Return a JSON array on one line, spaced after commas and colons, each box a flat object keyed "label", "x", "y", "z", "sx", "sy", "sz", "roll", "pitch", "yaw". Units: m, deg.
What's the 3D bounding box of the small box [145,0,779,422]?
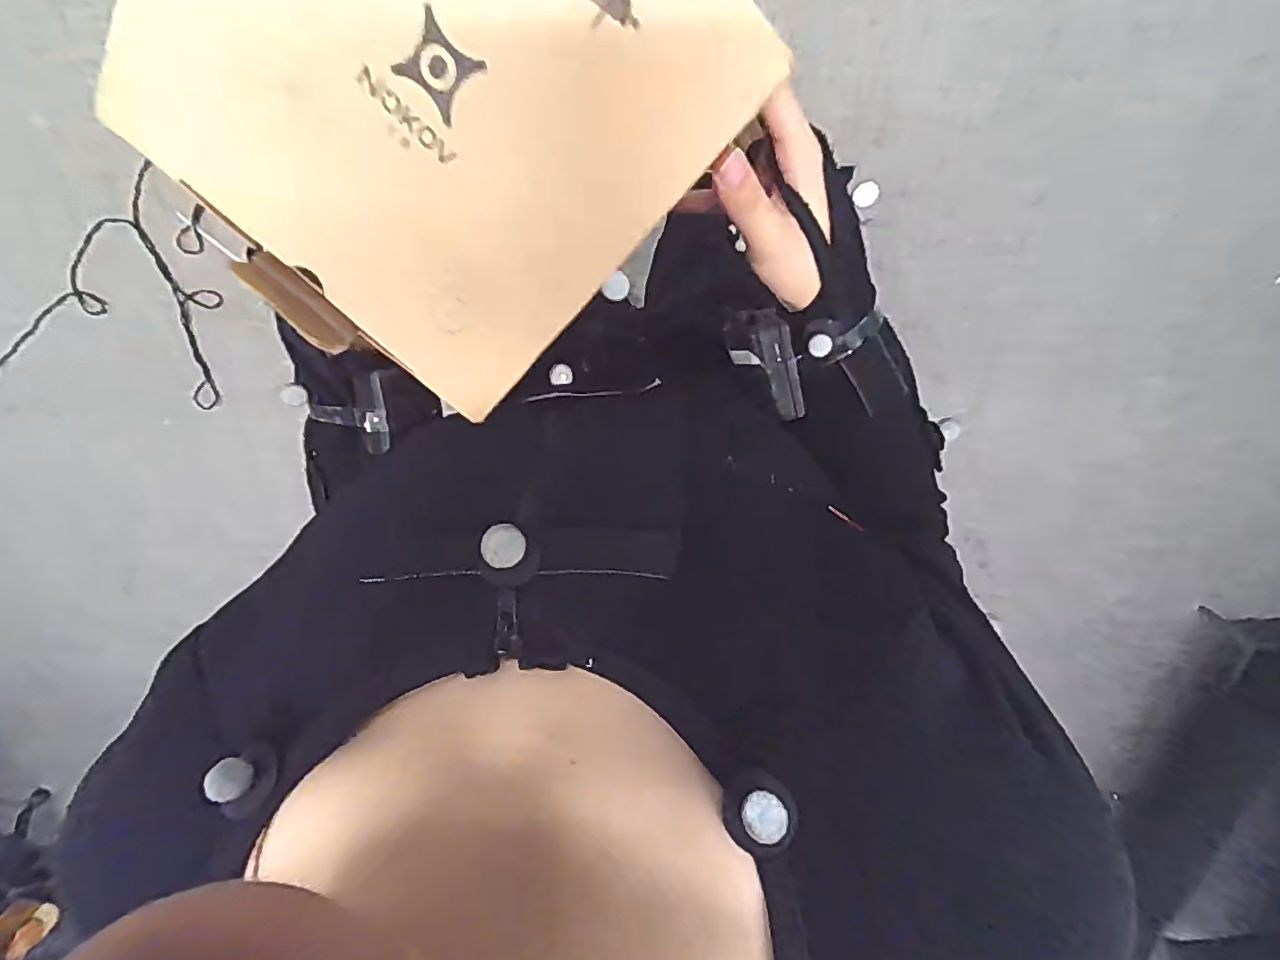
[{"label": "small box", "x": -0.060, "y": -0.166, "z": 0.257, "sx": 0.168, "sy": 0.176, "sz": 0.179, "roll": 41, "pitch": 116, "yaw": -18}]
